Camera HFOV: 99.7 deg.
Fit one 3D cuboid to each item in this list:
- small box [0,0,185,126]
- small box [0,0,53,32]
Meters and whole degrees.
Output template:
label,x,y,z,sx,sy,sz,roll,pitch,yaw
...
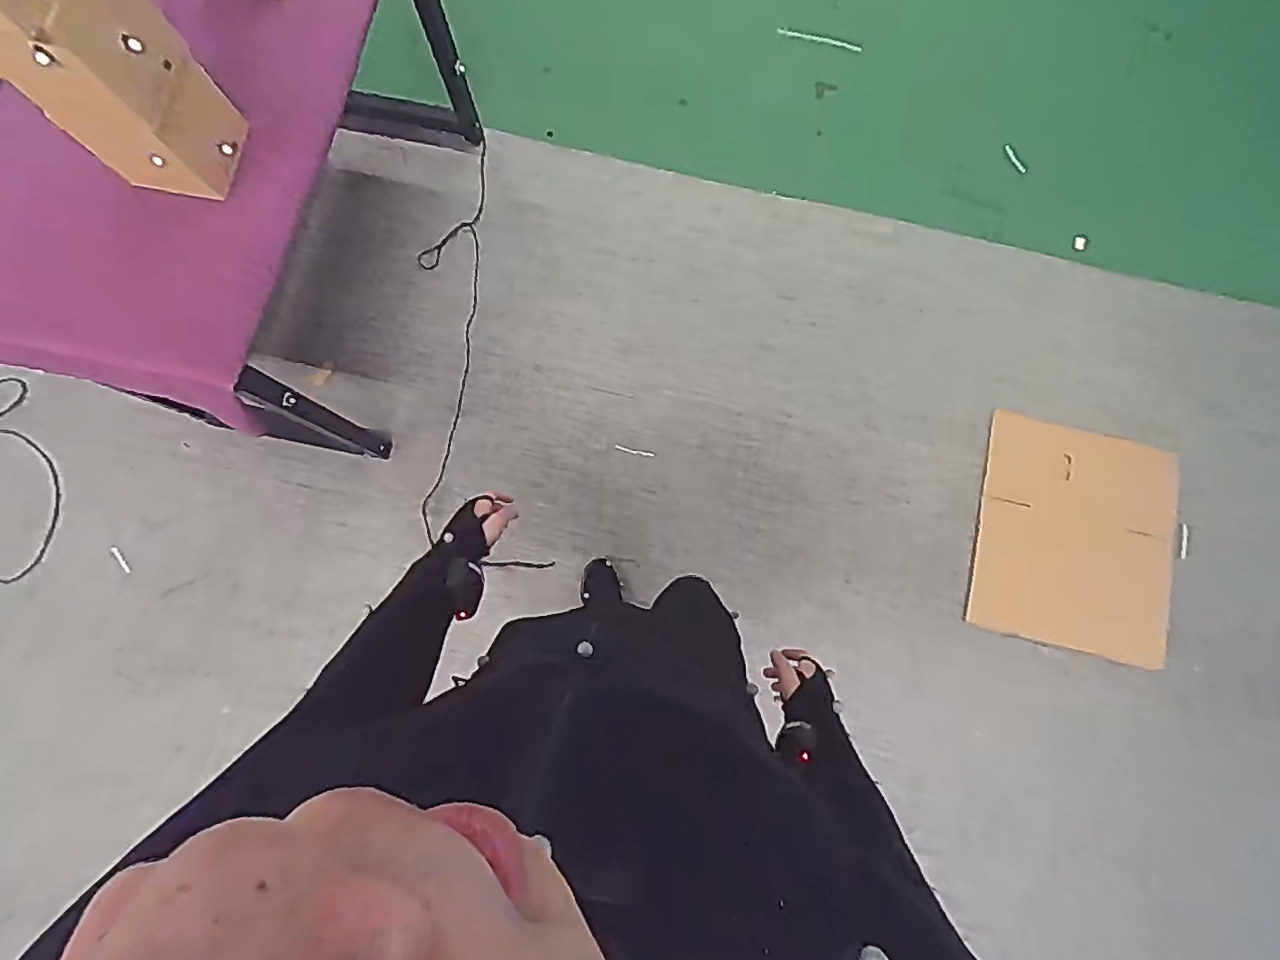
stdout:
label,x,y,z,sx,sy,sz,roll,pitch,yaw
small box,-0.819,-0.652,0.777,0.179,0.176,0.168,10,80,0
small box,-0.821,-0.663,0.612,0.179,0.176,0.168,13,81,0
